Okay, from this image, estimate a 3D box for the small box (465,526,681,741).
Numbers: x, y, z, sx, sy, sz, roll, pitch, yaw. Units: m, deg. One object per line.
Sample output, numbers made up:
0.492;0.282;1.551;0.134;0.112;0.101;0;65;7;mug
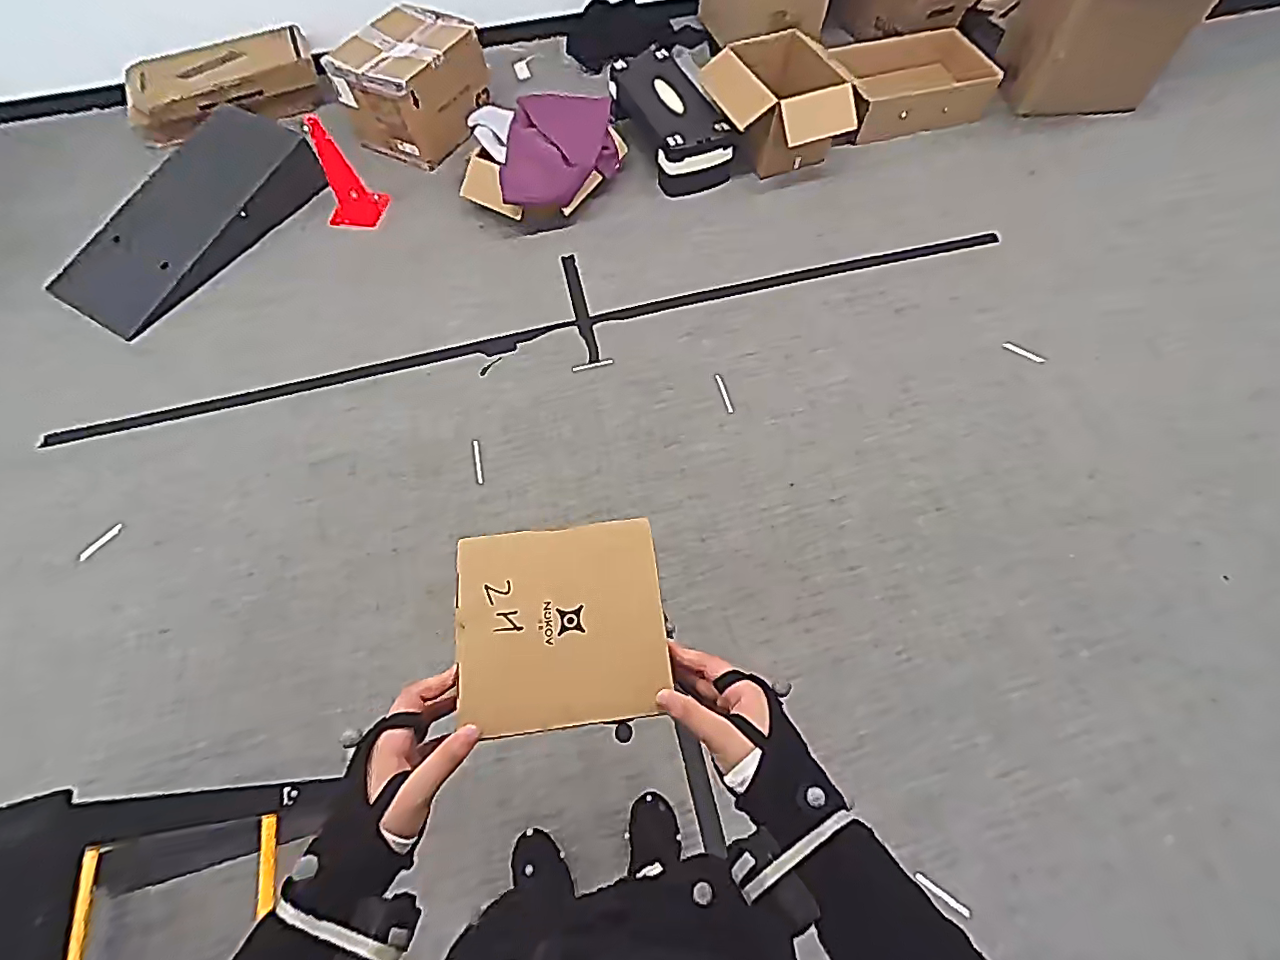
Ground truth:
-0.063;0.155;0.536;0.179;0.176;0.168;-6;67;-3;small box
